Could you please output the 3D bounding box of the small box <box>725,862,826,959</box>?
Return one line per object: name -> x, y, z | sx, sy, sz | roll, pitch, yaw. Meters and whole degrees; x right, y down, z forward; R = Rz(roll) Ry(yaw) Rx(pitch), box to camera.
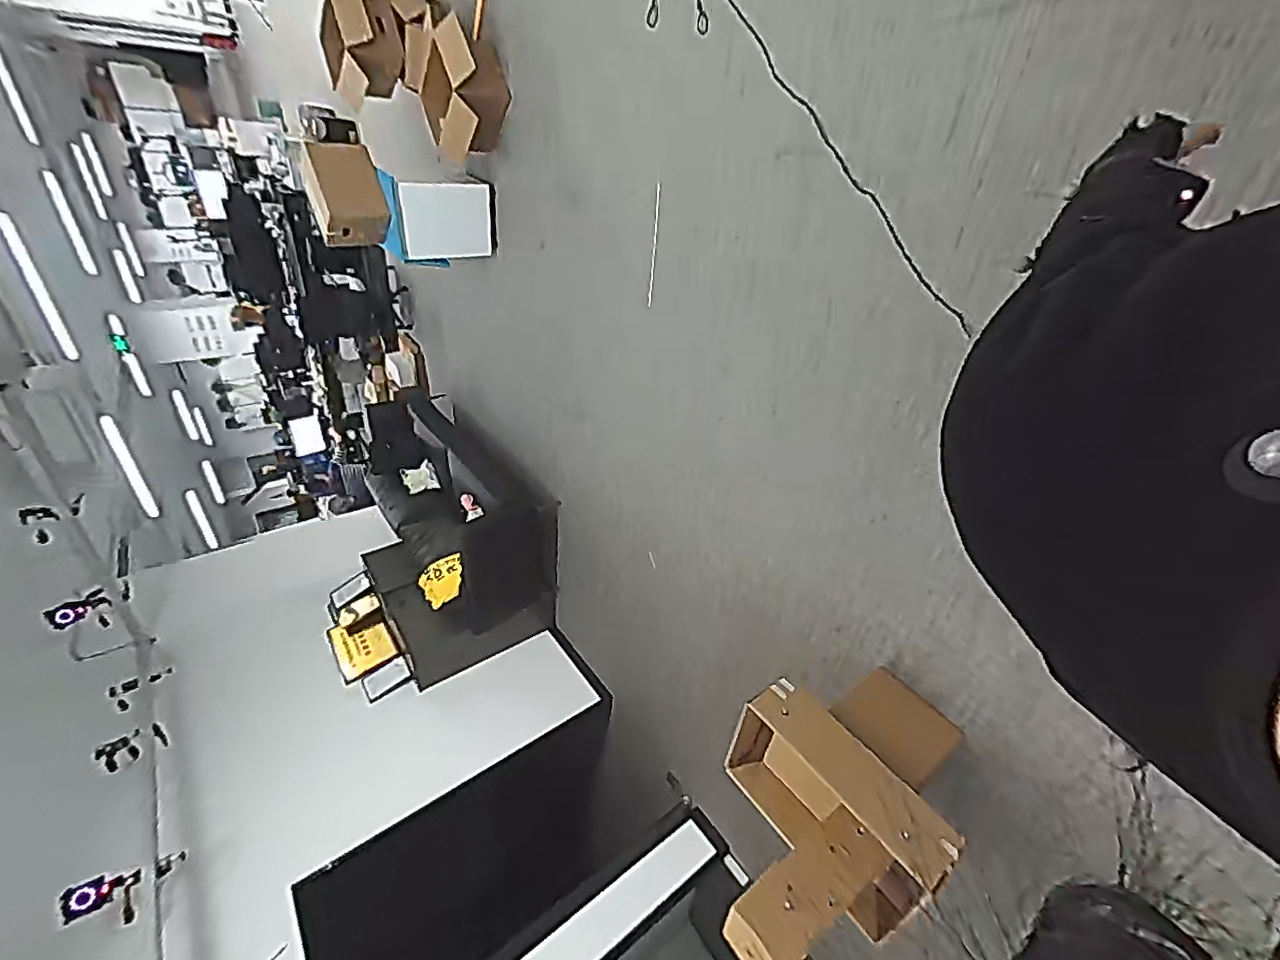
small box -> 0.341, 1.125, 1.365 | 0.168, 0.176, 0.179 | 37, 135, 41
